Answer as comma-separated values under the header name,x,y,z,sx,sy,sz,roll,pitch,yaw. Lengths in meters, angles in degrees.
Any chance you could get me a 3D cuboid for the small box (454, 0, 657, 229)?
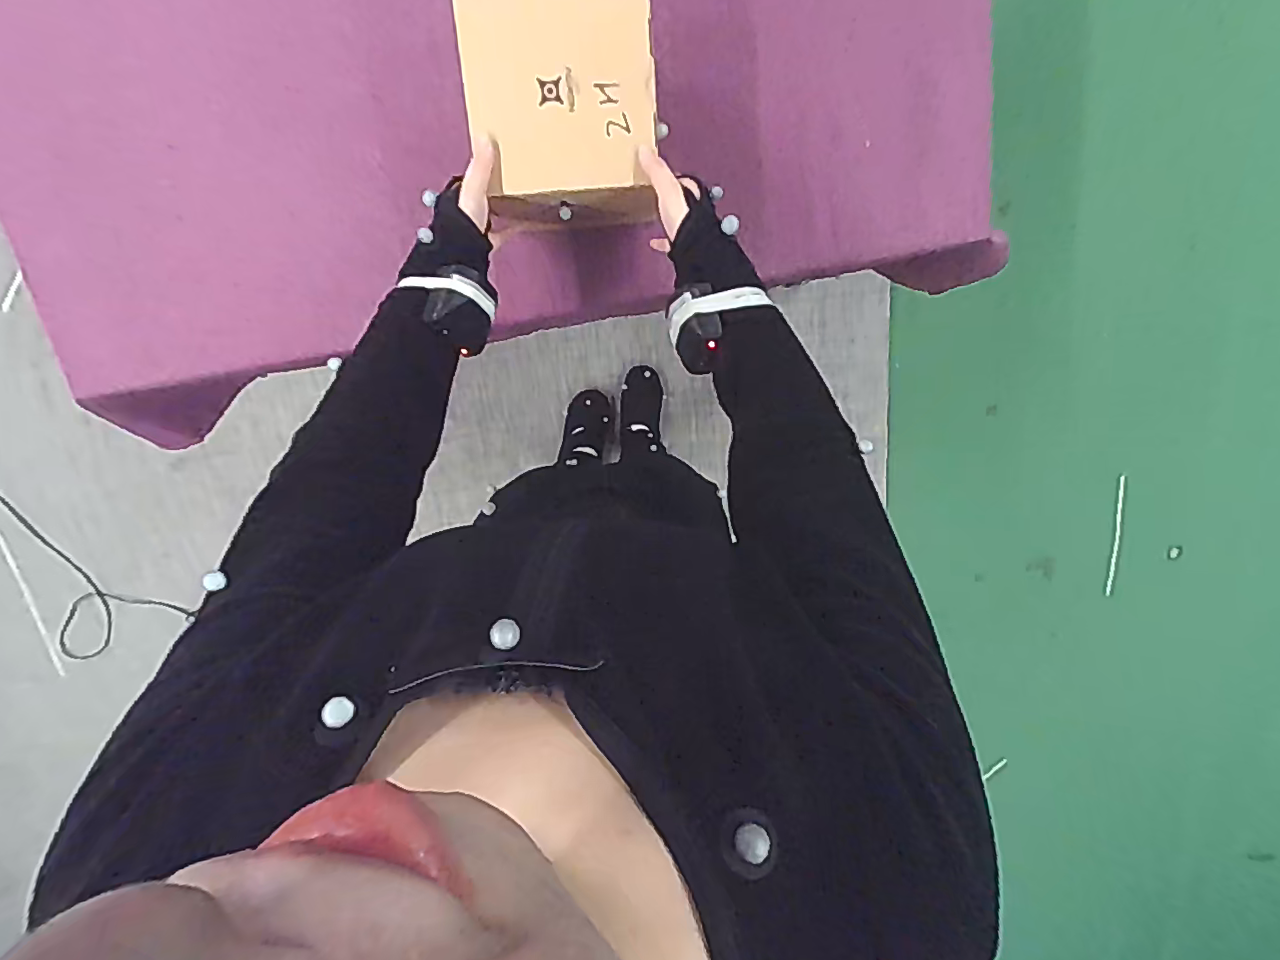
name,x,y,z,sx,sy,sz,roll,pitch,yaw
small box,-0.073,-0.374,0.573,0.179,0.176,0.168,-3,105,2
